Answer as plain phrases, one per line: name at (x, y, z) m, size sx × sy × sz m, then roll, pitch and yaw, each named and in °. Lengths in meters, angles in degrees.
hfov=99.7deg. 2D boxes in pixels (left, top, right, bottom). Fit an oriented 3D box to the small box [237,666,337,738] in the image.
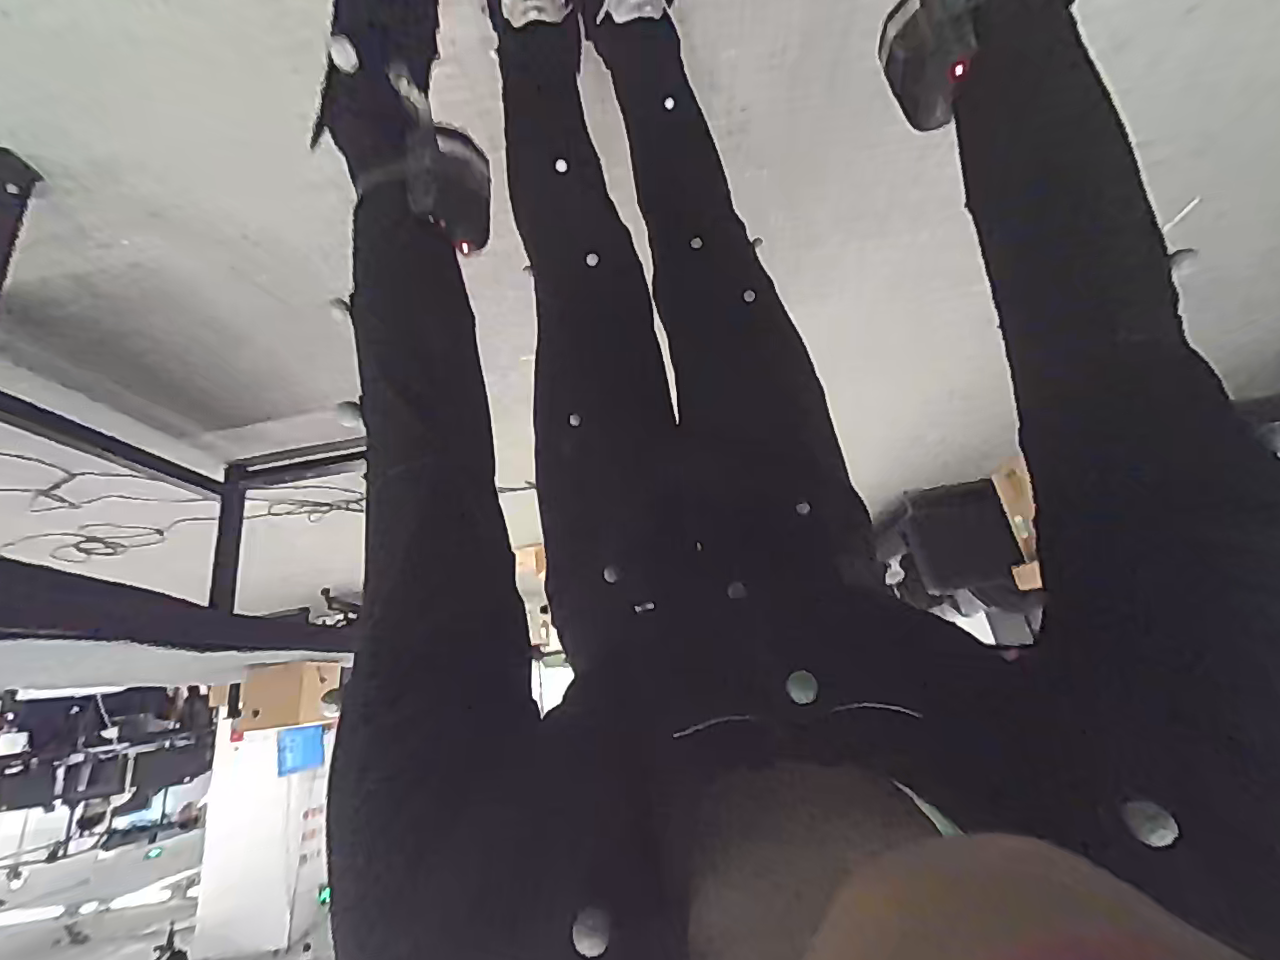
small box at (-0.998, 0.633, 1.548) m, size 0.179 × 0.176 × 0.168 m, roll -9°, pitch 159°, yaw 4°
